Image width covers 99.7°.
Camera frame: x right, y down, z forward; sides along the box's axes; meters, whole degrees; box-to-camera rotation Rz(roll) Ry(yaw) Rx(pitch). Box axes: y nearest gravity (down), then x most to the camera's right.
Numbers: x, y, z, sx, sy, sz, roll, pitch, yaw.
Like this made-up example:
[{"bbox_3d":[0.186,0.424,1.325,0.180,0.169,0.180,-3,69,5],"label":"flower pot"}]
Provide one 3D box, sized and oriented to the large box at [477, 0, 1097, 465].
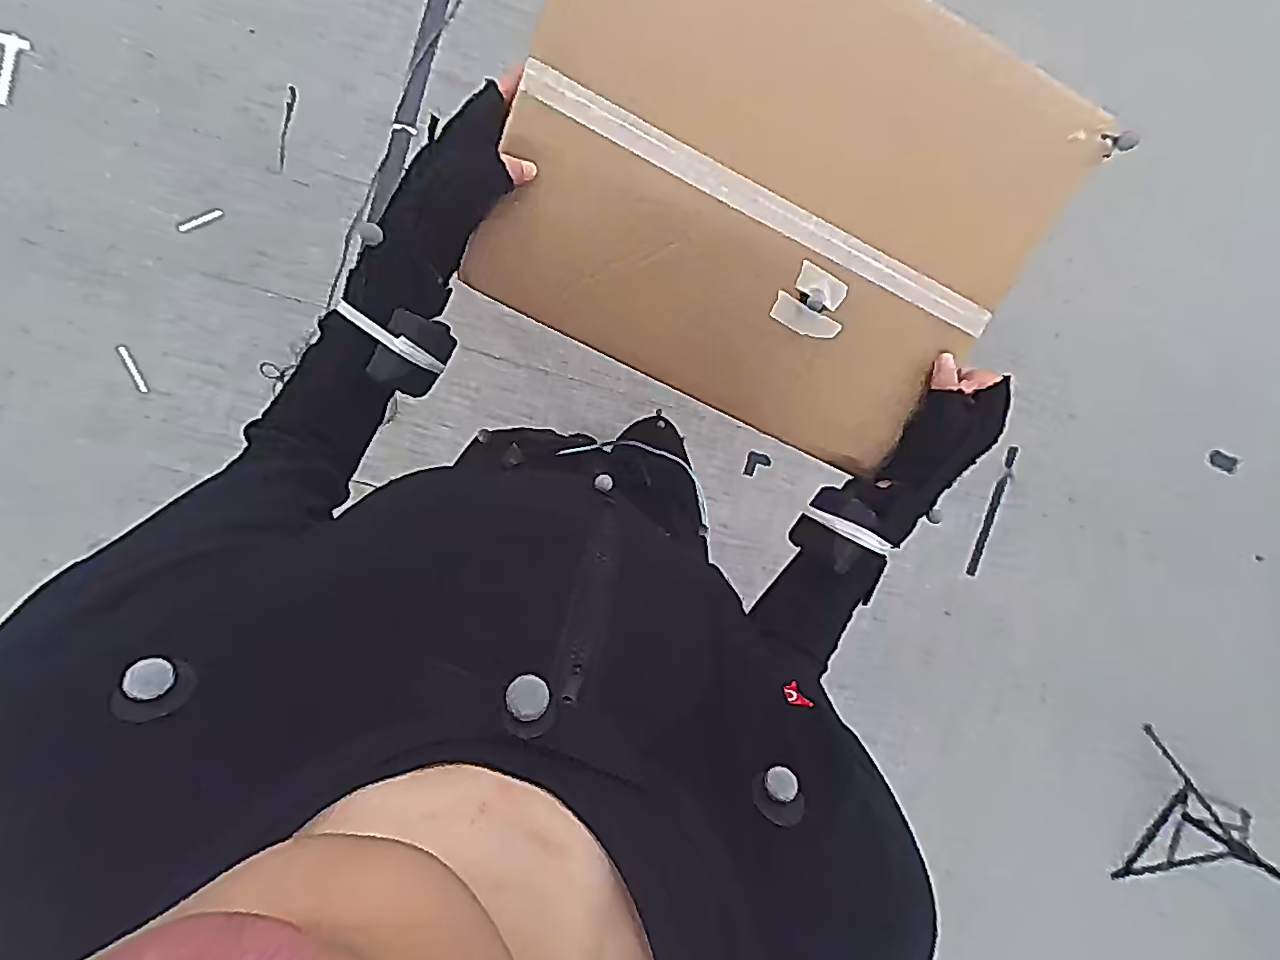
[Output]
[{"bbox_3d":[0.105,-0.273,0.568,0.408,0.320,0.320,25,111,-9],"label":"large box"}]
